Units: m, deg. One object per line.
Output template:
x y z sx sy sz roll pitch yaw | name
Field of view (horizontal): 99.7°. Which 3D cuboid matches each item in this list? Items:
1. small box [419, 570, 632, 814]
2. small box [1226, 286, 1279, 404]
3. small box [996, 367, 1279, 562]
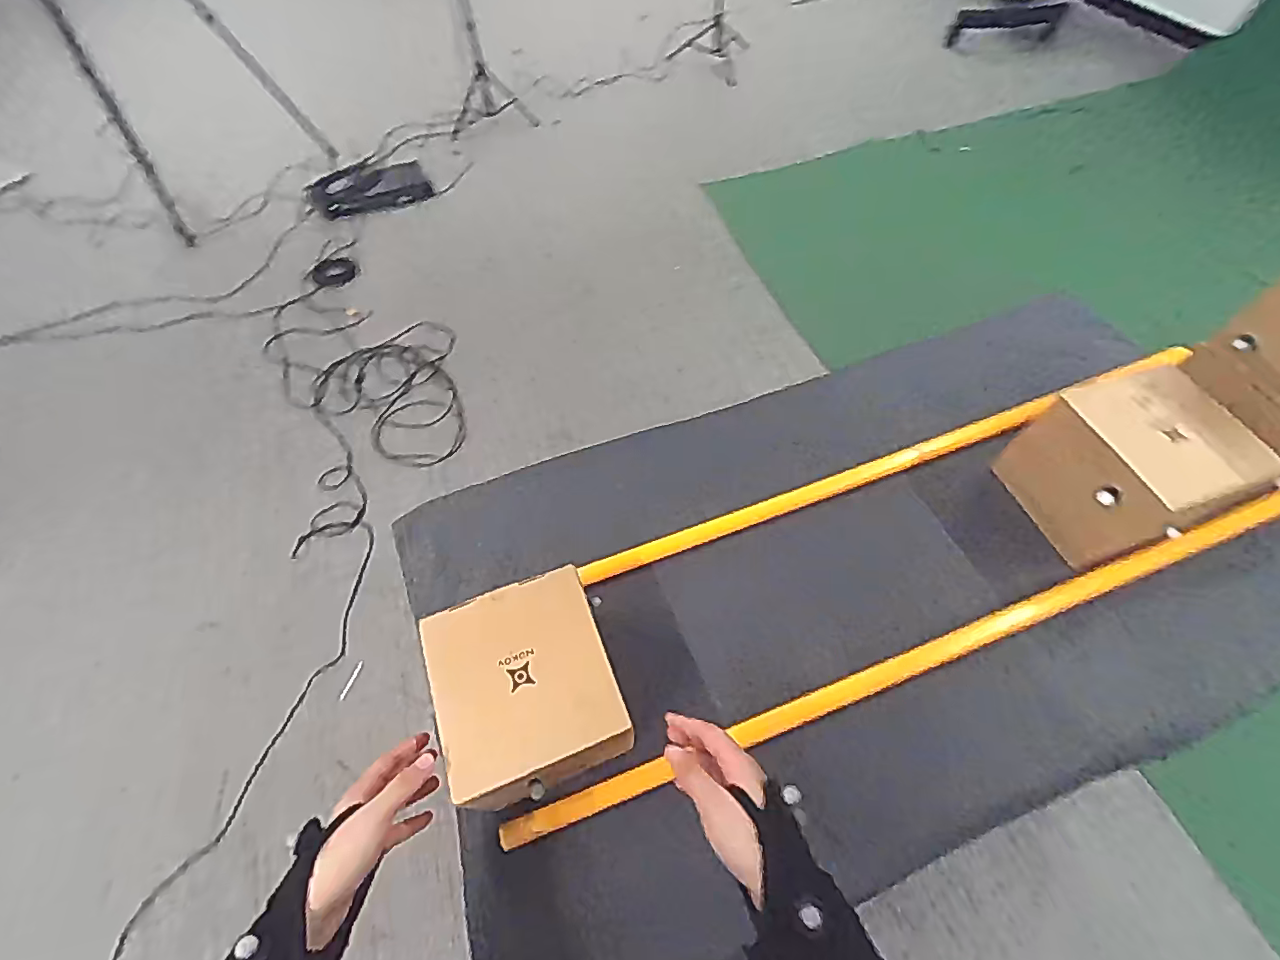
-0.112 0.228 0.577 0.168 0.176 0.179 -19 59 -12 | small box
0.828 -0.169 0.593 0.179 0.176 0.168 -15 60 -7 | small box
0.619 -0.010 0.698 0.168 0.176 0.179 -17 59 -8 | small box
